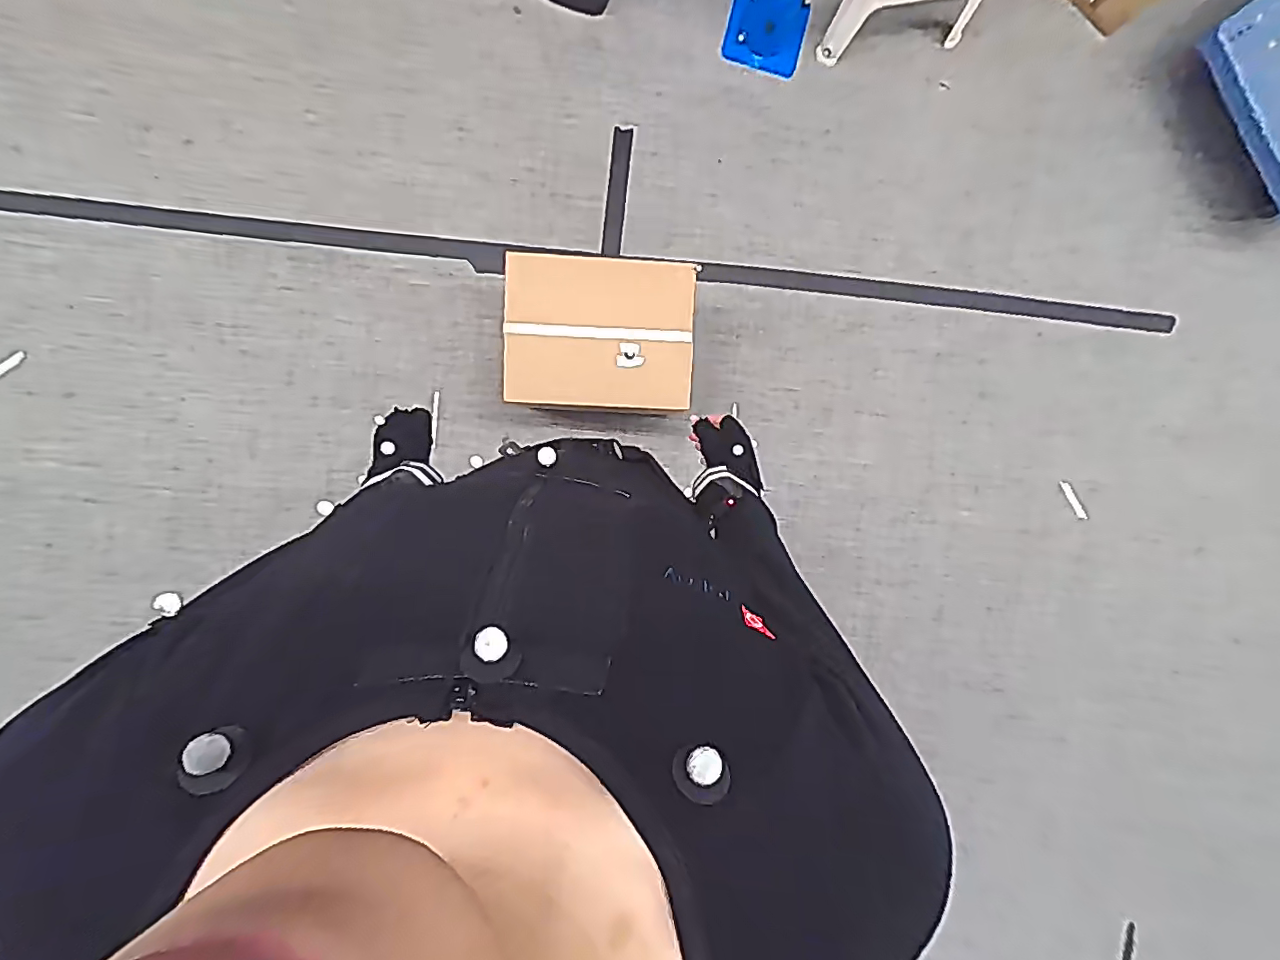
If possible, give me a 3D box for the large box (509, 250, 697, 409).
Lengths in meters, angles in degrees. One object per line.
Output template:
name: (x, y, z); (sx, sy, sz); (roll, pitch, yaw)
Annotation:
large box: (-0.092, -0.337, 1.303); (0.408, 0.320, 0.320); (2, 96, -5)
